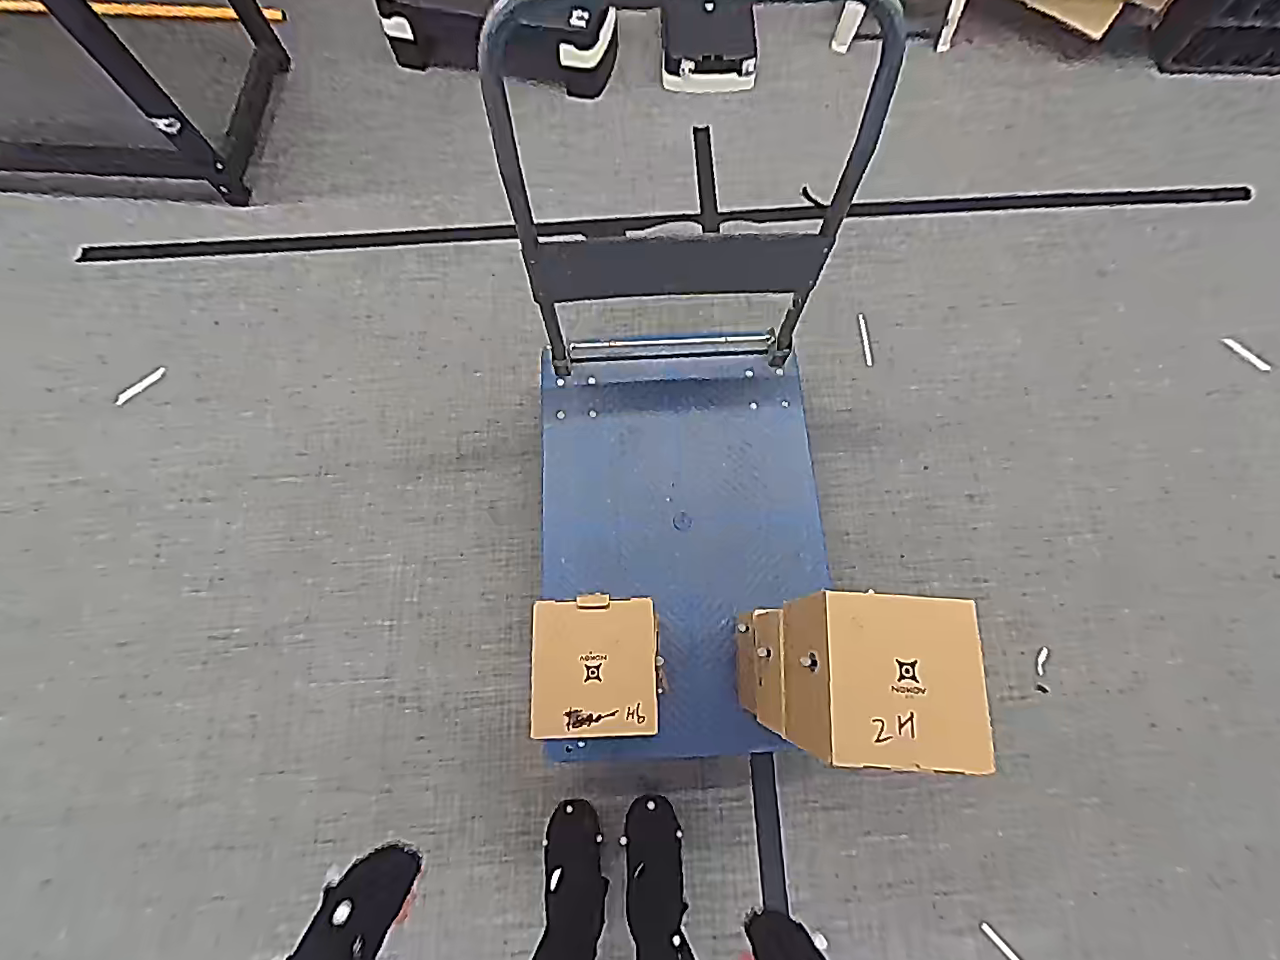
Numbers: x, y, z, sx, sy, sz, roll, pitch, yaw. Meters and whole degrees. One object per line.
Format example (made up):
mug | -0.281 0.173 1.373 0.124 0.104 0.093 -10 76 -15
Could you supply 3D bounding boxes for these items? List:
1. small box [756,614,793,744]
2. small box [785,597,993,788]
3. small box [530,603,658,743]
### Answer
small box | 0.270 0.291 0.793 0.179 0.176 0.168 3 73 -1
small box | 0.273 0.240 0.636 0.168 0.176 0.179 4 73 0
small box | -0.061 0.278 0.791 0.168 0.176 0.179 -1 72 -1
